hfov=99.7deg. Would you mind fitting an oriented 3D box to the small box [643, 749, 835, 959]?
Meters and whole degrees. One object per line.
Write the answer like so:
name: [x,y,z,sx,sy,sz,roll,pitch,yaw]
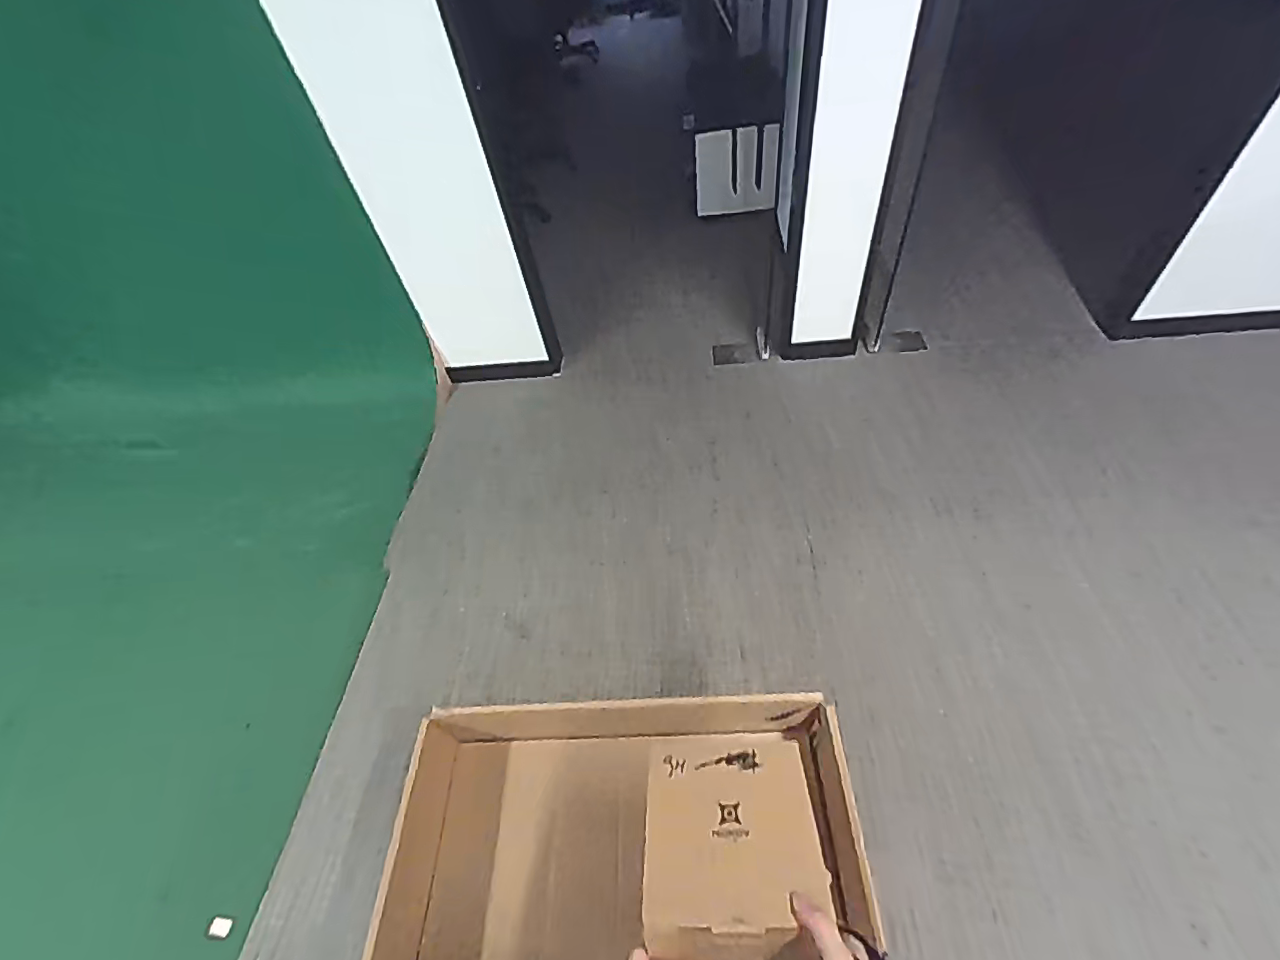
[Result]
small box: [0.099,0.415,0.566,0.168,0.176,0.179,-5,29,6]
